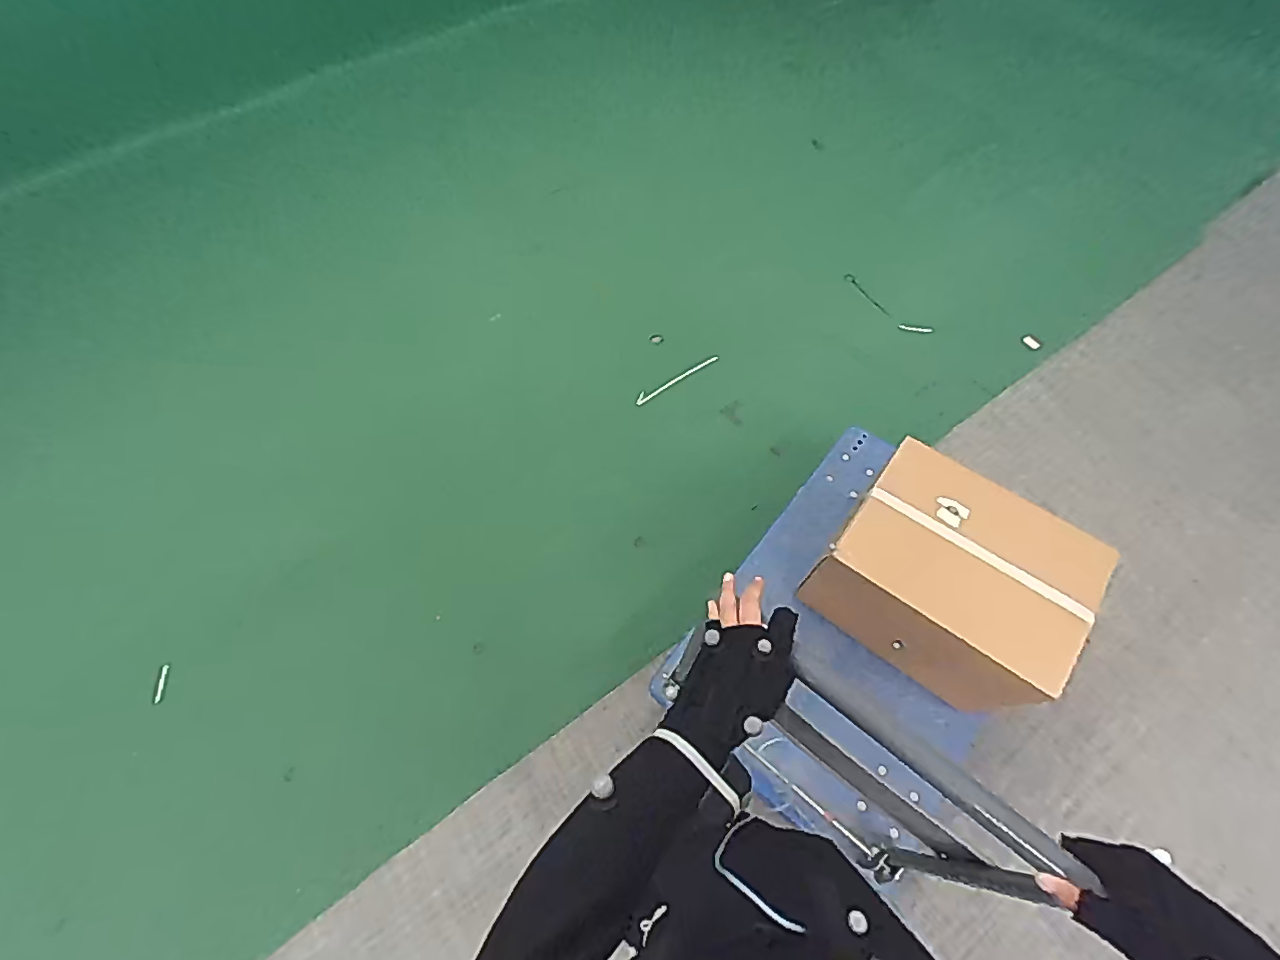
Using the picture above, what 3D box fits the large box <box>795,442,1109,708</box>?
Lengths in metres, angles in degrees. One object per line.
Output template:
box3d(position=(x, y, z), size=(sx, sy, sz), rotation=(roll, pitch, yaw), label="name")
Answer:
box3d(position=(0.589, 0.200, 1.095), size=(0.408, 0.320, 0.320), rotation=(34, 69, 19), label="large box")
